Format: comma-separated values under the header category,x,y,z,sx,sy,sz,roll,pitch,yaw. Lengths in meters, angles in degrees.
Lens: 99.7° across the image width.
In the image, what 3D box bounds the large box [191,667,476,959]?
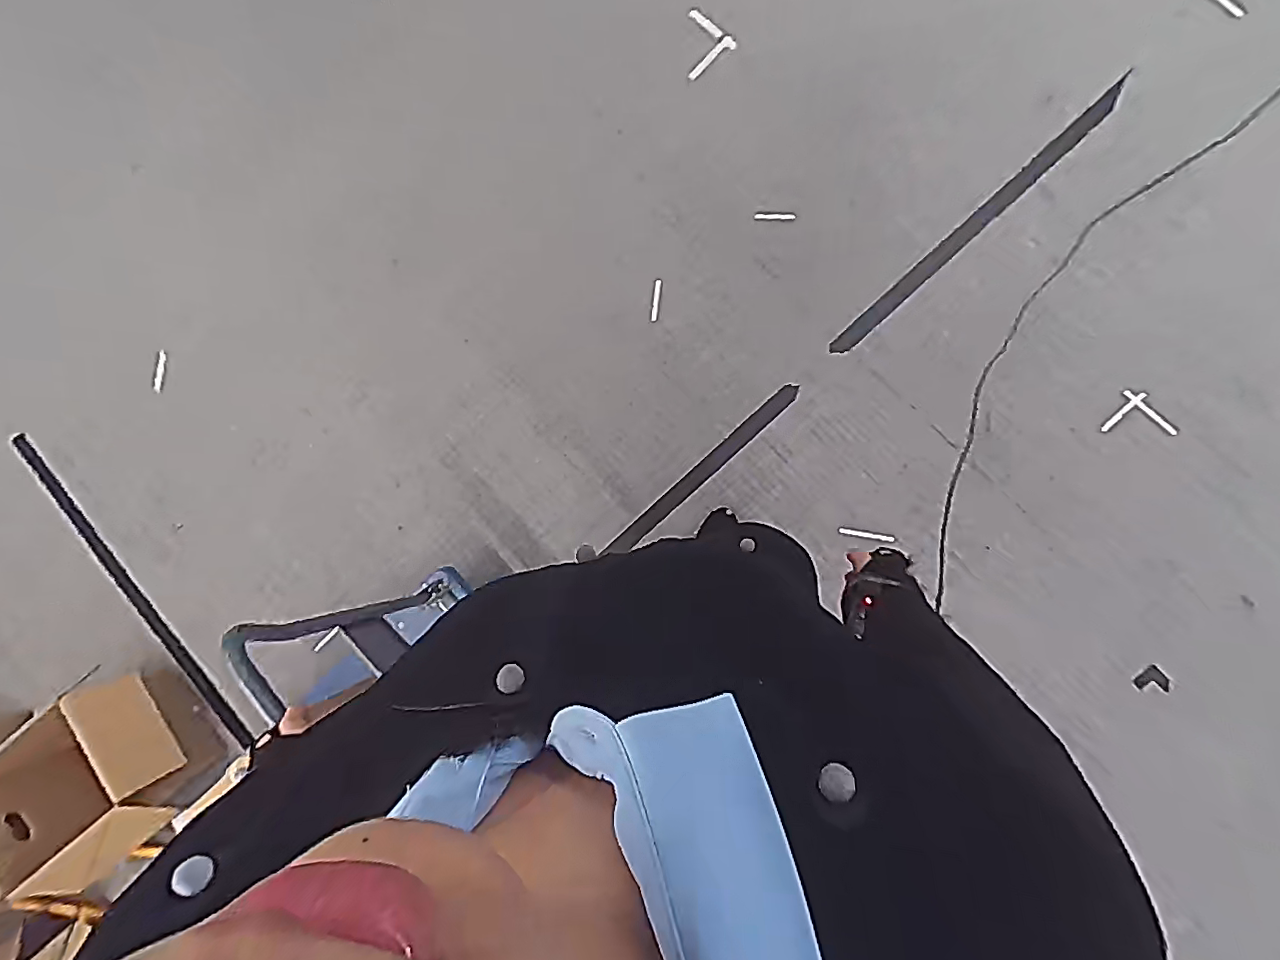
category,x,y,z,sx,sy,sz,roll,pitch,yaw
large box,-0.660,0.711,1.224,0.320,0.320,0.408,-42,84,4
